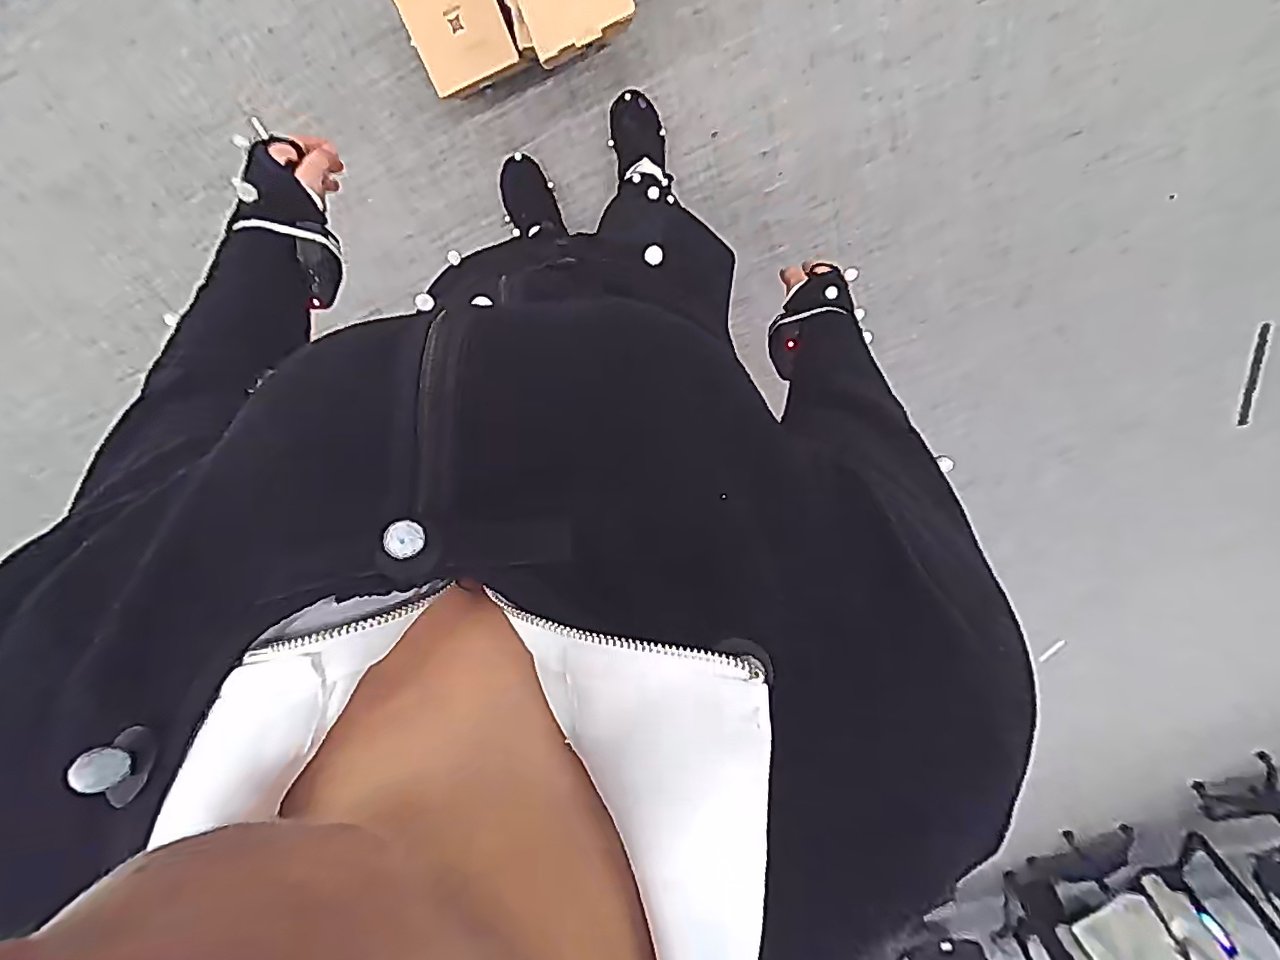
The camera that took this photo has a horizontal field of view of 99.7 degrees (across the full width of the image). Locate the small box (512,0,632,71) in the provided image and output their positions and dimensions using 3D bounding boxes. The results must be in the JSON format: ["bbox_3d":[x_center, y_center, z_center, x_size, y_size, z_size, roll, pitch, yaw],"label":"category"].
[{"bbox_3d":[-0.121,-0.790,0.866,0.168,0.176,0.179,-20,124,8],"label":"small box"}]
